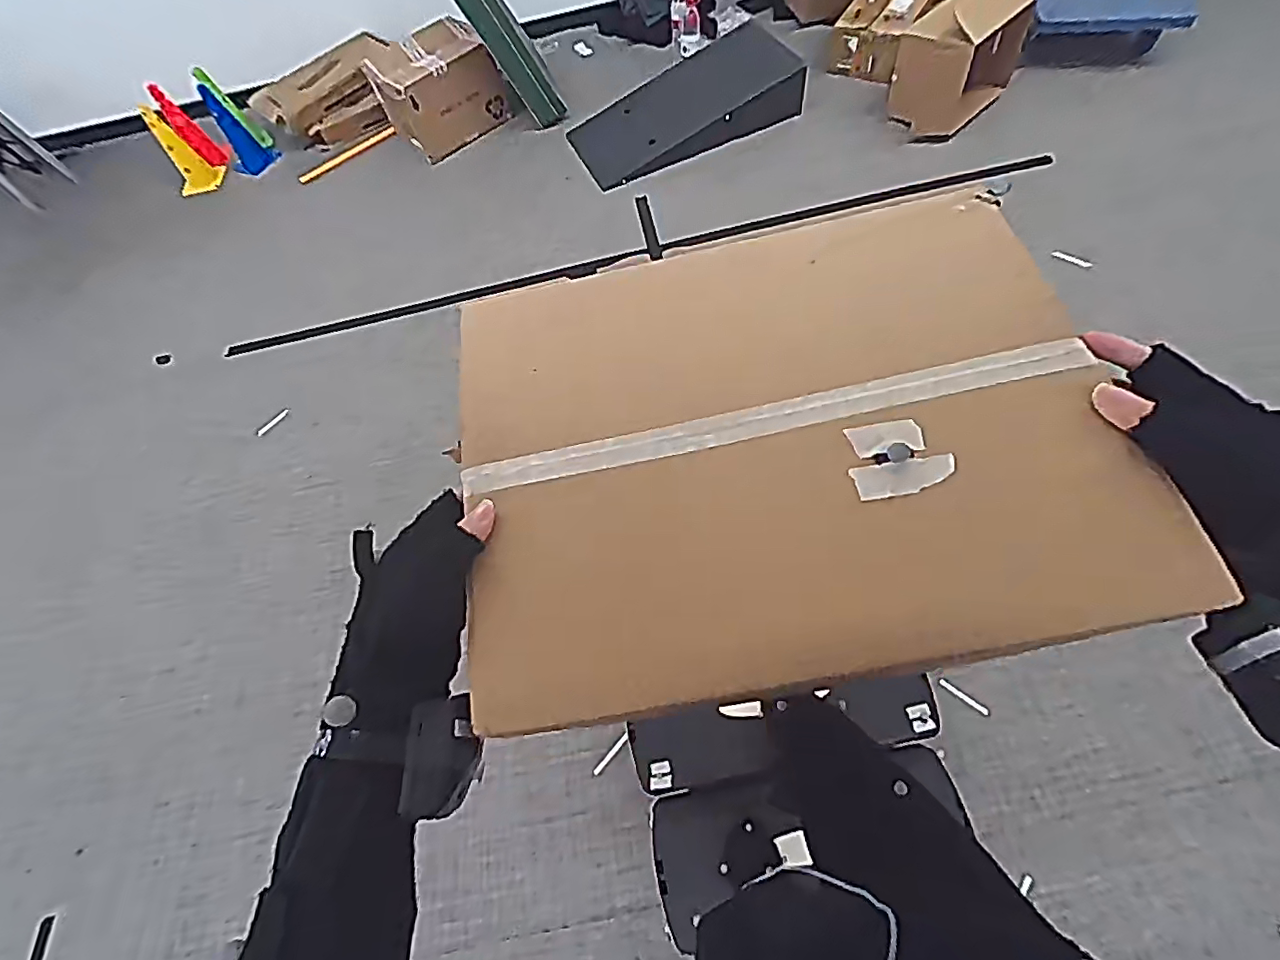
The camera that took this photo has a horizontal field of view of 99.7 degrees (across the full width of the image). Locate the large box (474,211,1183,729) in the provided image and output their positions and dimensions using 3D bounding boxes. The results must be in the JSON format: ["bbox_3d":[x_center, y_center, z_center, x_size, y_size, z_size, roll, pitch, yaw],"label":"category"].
[{"bbox_3d":[0.101,0.027,0.503,0.408,0.320,0.320,-12,66,4],"label":"large box"}]

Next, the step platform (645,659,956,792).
[{"bbox_3d":[0.348,0.508,1.272,0.684,0.204,0.286,-13,62,0],"label":"step platform"}]
